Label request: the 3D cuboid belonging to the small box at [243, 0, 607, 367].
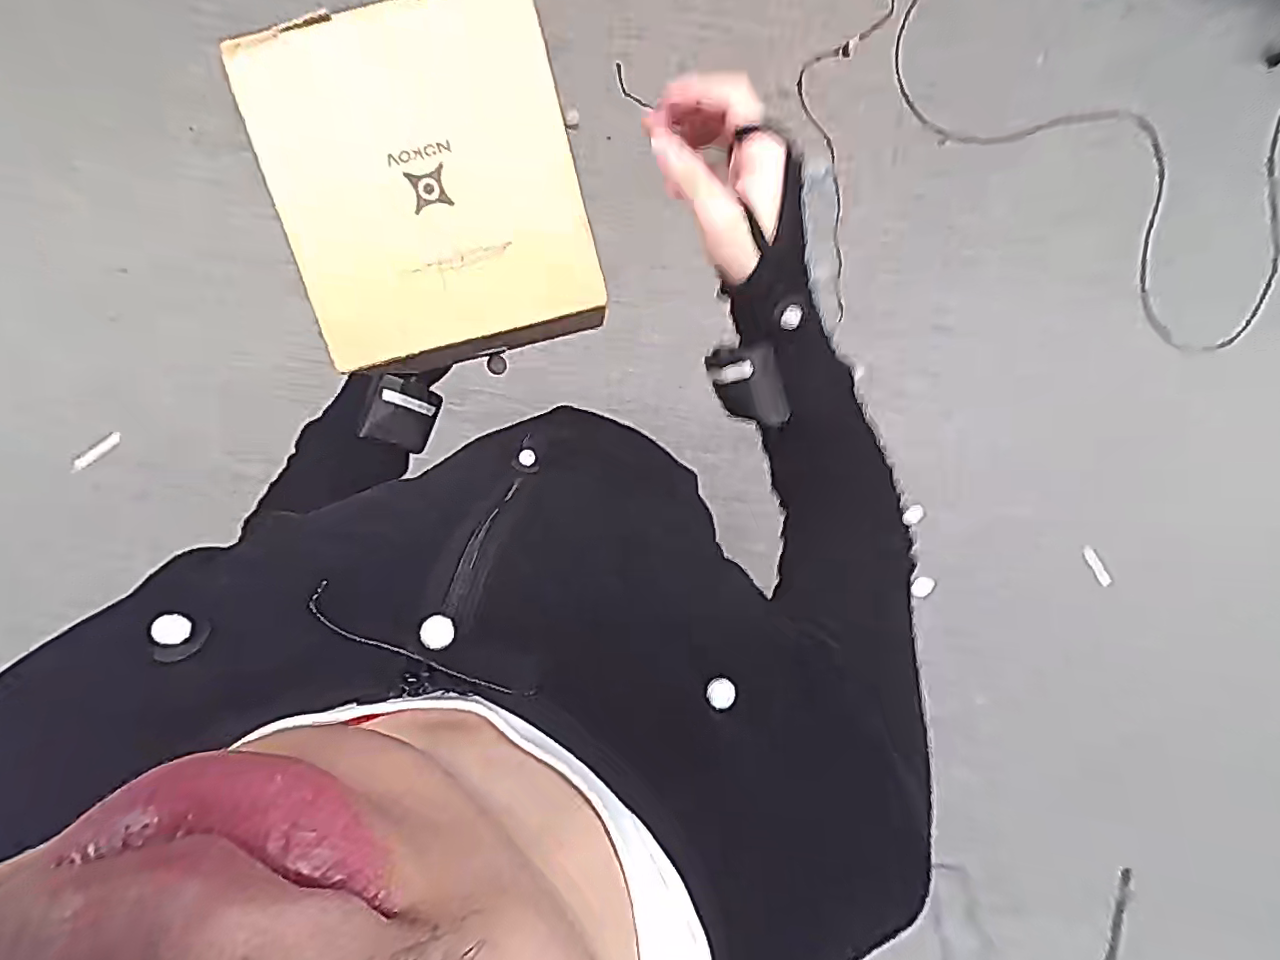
[{"bbox_3d":[-0.125,-0.185,0.390,0.168,0.176,0.179,-14,102,-2],"label":"small box"}]
